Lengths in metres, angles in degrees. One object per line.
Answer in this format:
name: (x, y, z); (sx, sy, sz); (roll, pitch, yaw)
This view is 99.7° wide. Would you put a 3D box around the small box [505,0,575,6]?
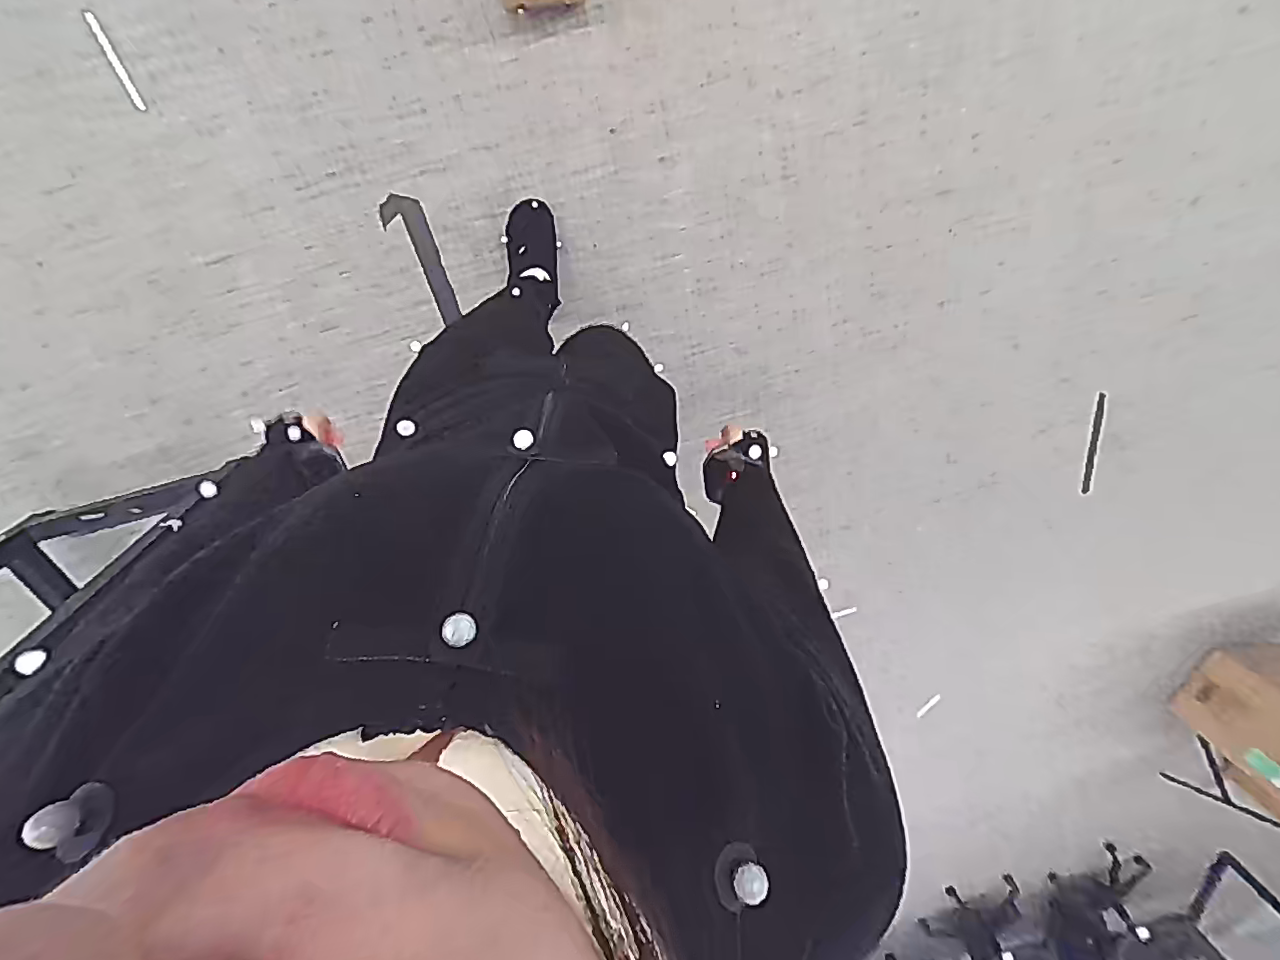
small box: (-0.186, -0.971, 0.953); (0.168, 0.176, 0.179); (-11, 118, -5)
